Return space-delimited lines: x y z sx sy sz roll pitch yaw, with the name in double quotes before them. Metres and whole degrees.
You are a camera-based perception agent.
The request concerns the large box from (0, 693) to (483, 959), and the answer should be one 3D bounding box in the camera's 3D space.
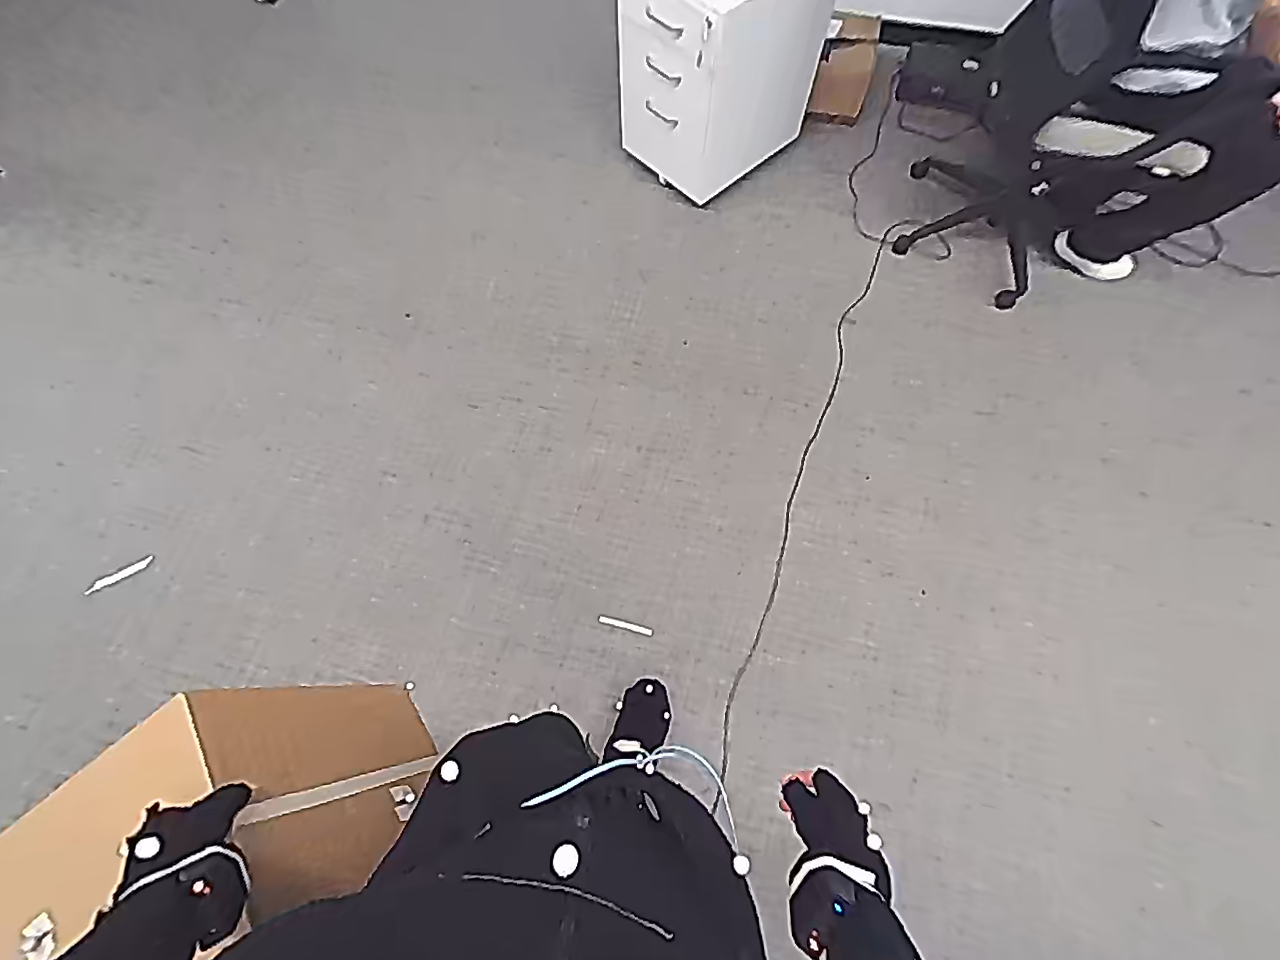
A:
"large box" -0.494 0.526 0.731 0.320 0.408 0.320 -38 68 -2
